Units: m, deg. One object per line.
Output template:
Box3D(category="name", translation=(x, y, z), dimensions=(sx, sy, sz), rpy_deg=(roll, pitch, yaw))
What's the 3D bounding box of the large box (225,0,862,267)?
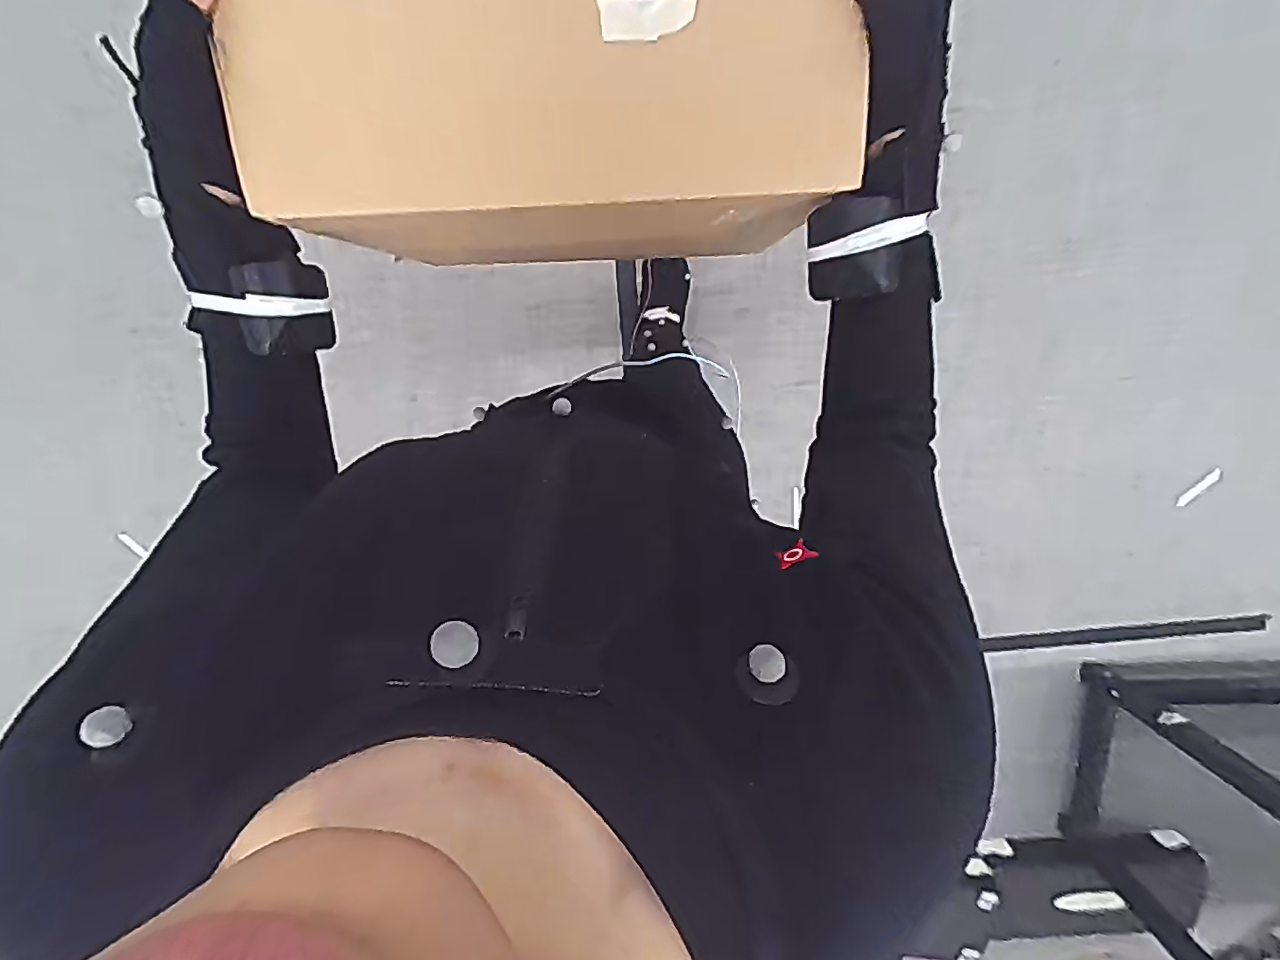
Box3D(category="large box", translation=(-0.062, -0.375, 0.469), dimensions=(0.408, 0.320, 0.320), rpy_deg=(-2, 107, 1))
